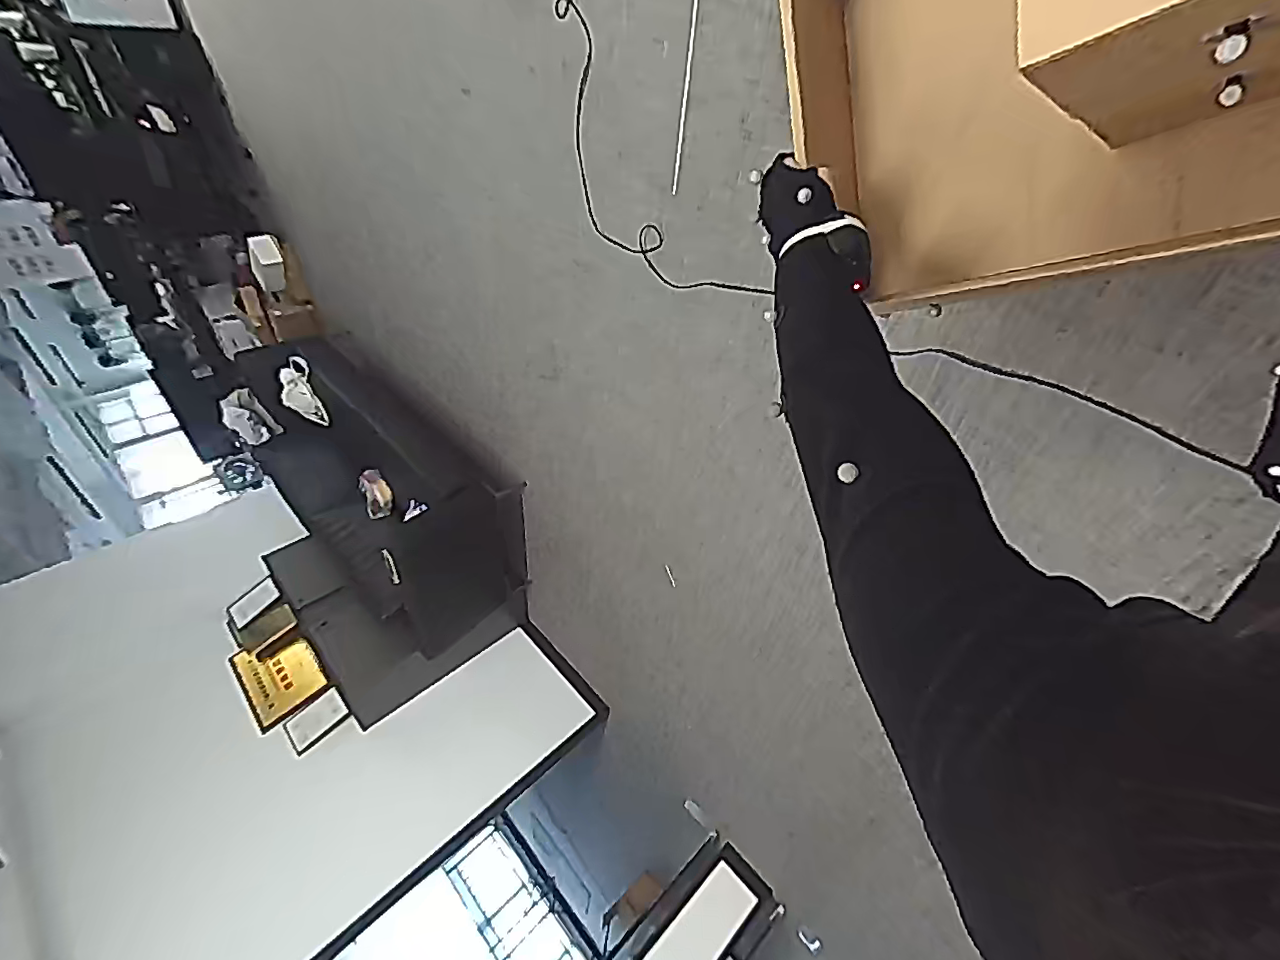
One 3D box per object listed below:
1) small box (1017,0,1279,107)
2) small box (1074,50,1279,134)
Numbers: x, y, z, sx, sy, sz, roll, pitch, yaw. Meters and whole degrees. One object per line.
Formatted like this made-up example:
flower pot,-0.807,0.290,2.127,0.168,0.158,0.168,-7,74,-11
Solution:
small box,0.311,-0.320,0.268,0.179,0.176,0.168,5,110,47
small box,0.427,-0.368,0.375,0.179,0.176,0.168,3,109,47
